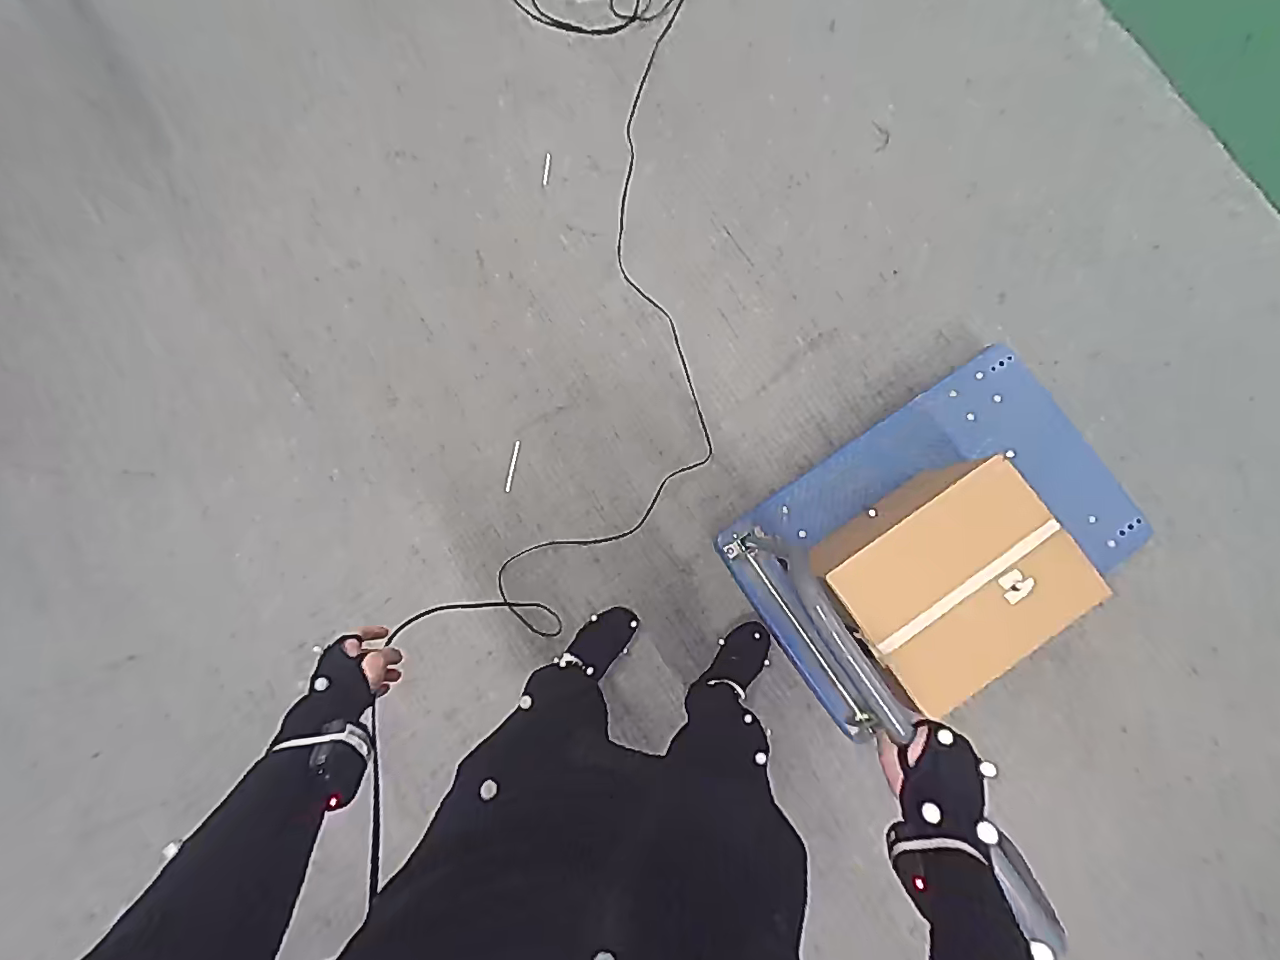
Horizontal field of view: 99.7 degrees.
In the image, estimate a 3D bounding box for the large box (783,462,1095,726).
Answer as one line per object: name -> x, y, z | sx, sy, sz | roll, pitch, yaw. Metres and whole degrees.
large box -> 0.576, 0.221, 1.124 | 0.408, 0.320, 0.320 | -34, 84, -3
